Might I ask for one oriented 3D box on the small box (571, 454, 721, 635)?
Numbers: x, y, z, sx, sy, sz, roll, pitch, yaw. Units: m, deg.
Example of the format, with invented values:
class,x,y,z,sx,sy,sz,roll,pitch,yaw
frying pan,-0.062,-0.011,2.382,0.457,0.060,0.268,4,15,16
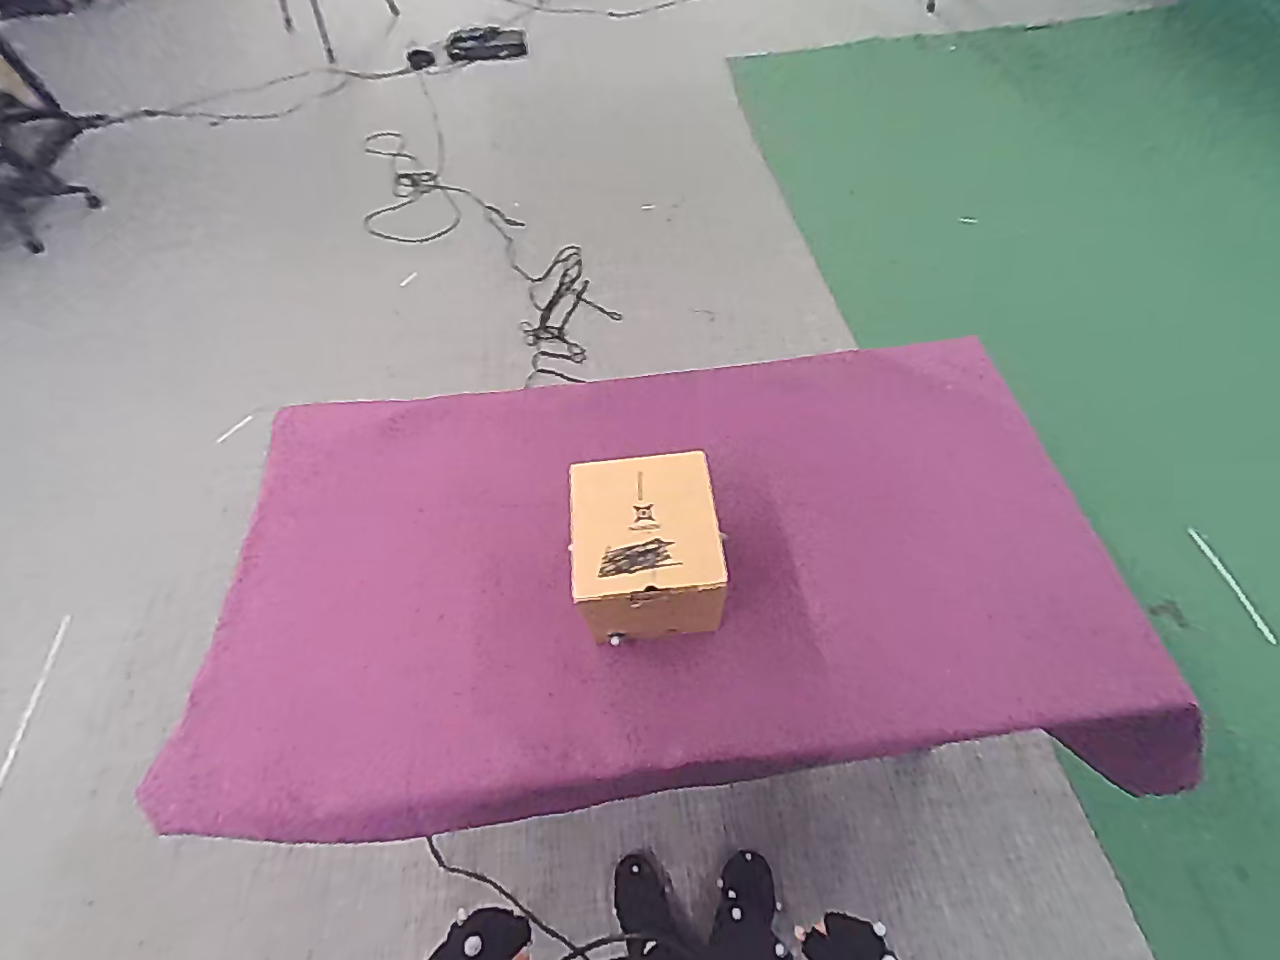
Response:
class,x,y,z,sx,sy,sz,roll,pitch,yaw
small box,0.007,0.091,0.690,0.168,0.176,0.179,-6,57,0
